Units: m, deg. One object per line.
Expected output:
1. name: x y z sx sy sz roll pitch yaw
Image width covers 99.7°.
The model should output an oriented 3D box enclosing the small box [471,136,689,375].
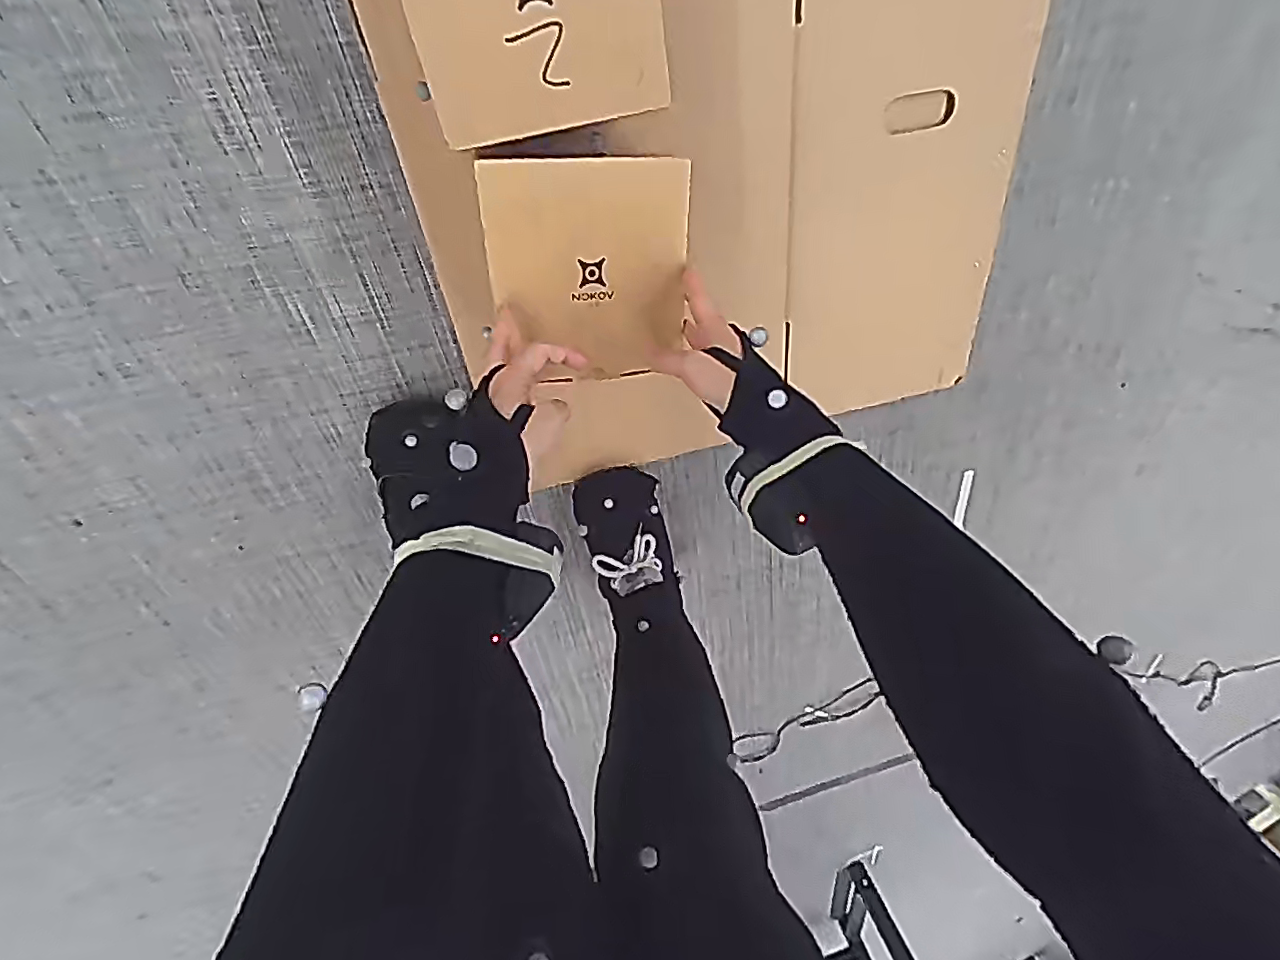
1. small box: -0.061 -0.216 0.503 0.168 0.176 0.179 -8 125 -12
